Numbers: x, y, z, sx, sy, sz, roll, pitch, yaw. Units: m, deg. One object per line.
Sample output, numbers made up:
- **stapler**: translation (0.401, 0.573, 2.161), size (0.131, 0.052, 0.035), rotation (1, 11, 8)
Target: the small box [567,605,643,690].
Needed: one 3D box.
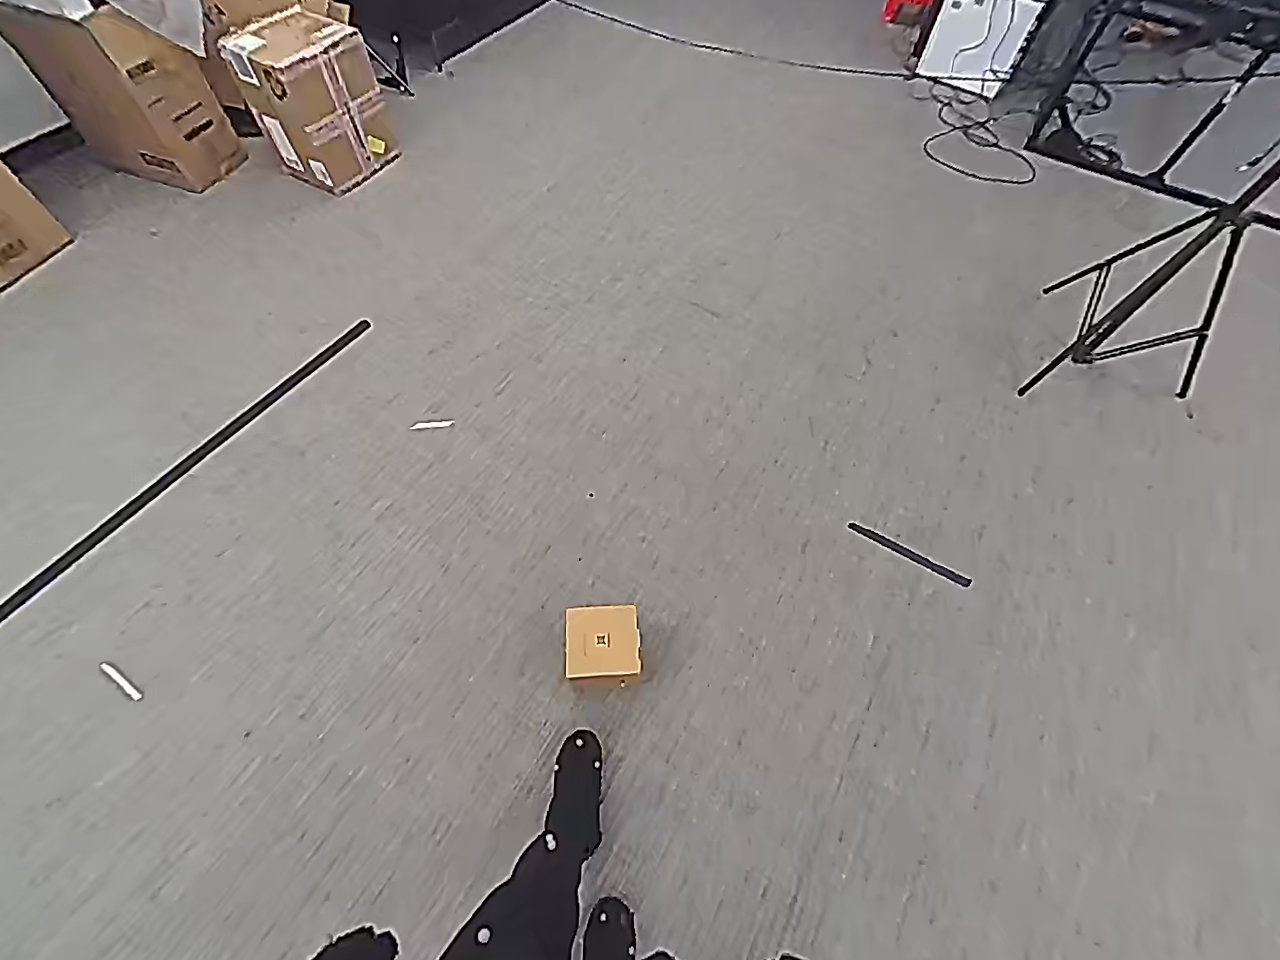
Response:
- **small box**: translation (-0.087, 0.419, 1.349), size (0.179, 0.176, 0.168), rotation (-3, 59, -3)
